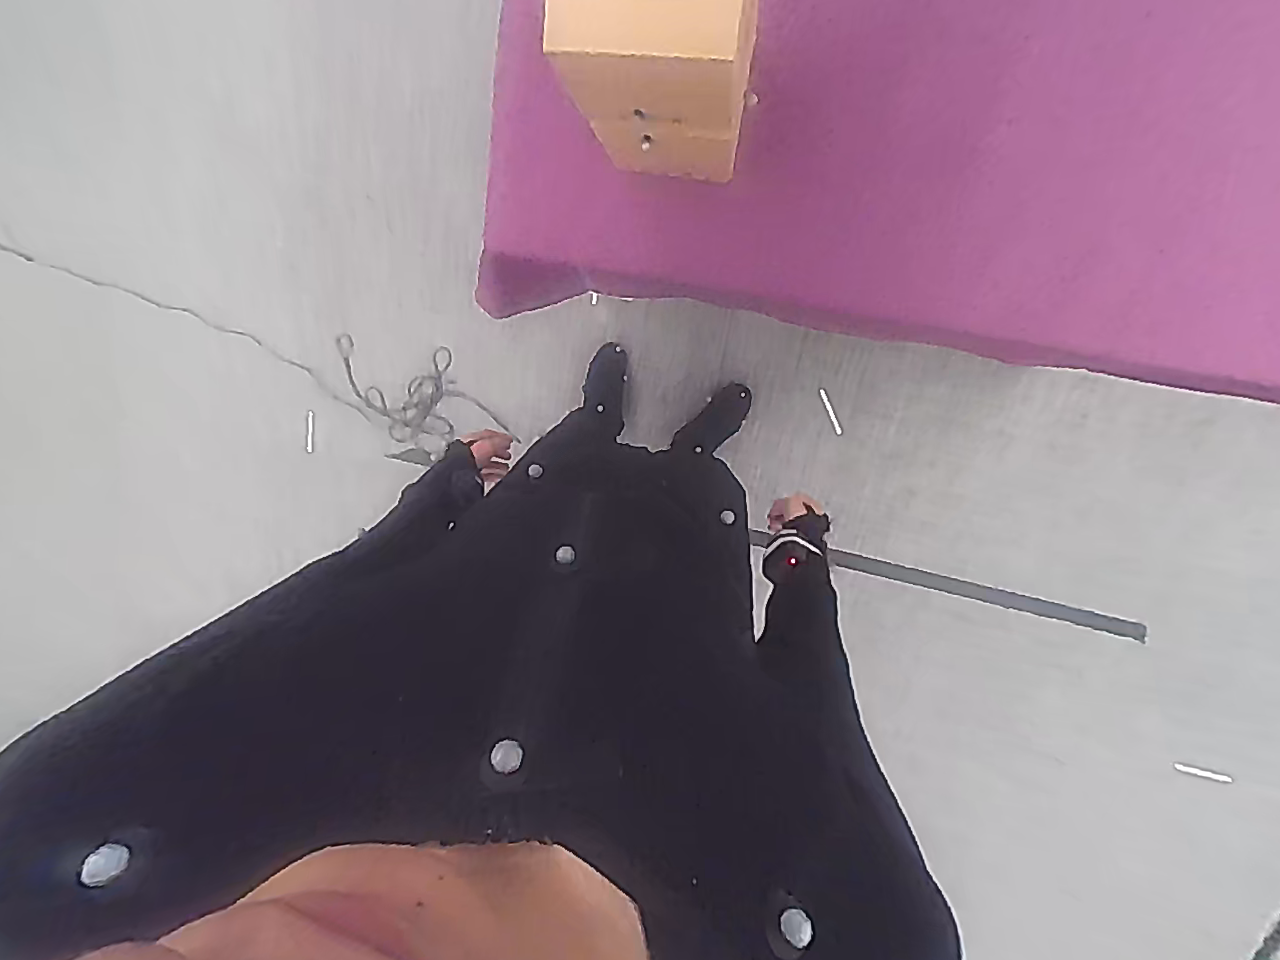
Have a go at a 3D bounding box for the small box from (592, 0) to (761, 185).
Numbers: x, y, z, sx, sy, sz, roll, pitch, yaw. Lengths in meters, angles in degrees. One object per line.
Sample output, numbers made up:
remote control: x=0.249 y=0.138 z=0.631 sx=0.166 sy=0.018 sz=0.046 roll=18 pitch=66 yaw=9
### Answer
small box: x=0.048 y=-0.491 z=0.664 sx=0.168 sy=0.176 sz=0.179 roll=11 pitch=105 yaw=6

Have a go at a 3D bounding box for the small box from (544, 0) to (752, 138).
small box: x=0.020 y=-0.454 z=0.507 sx=0.168 sy=0.176 sz=0.179 roll=9 pitch=105 yaw=7
